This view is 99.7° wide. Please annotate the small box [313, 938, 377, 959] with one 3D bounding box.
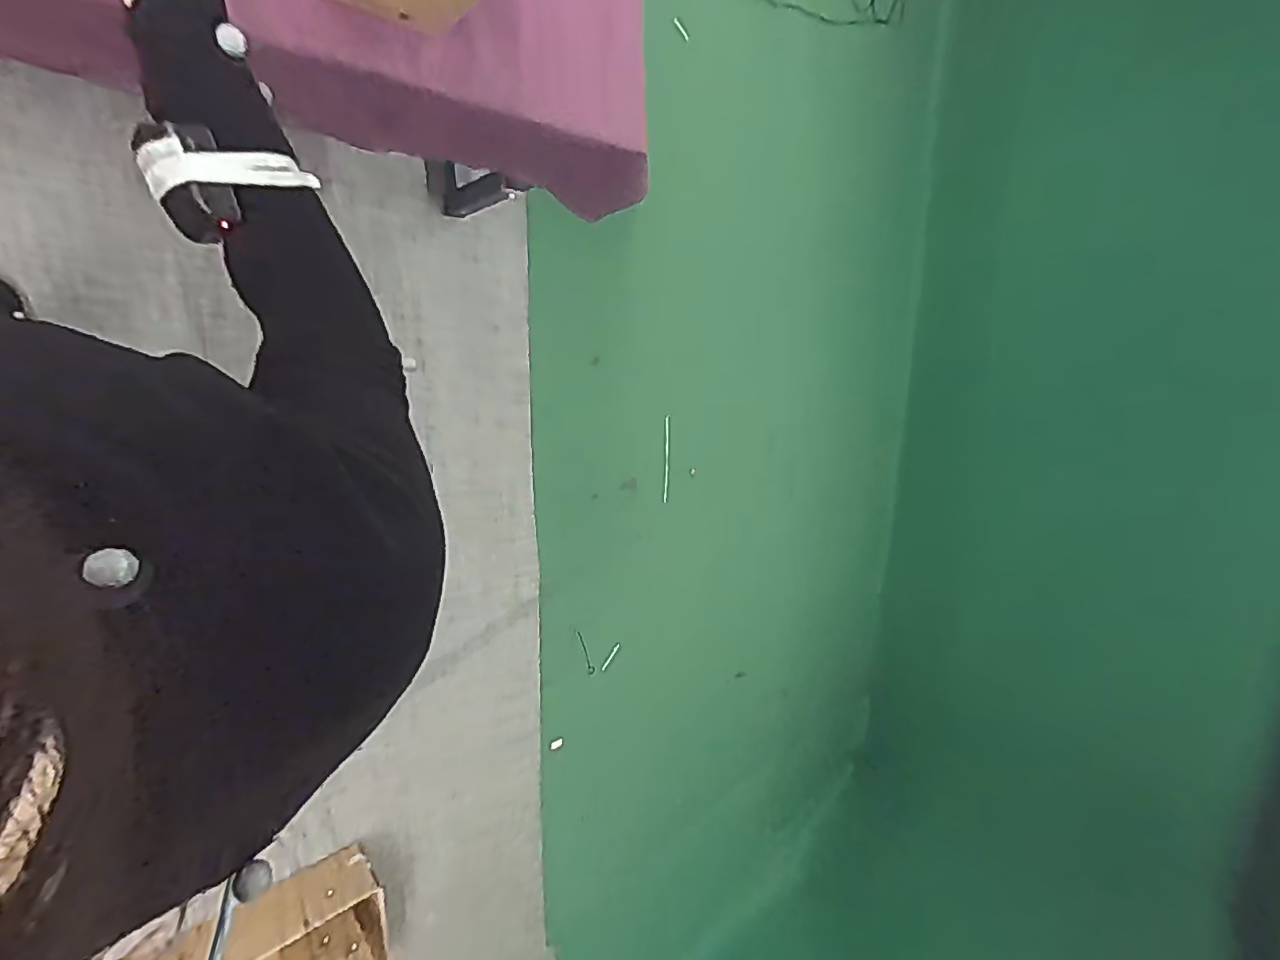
[{"bbox_3d":[-0.735,1.277,1.317,0.168,0.176,0.179,-2,101,-44],"label":"small box"}]
